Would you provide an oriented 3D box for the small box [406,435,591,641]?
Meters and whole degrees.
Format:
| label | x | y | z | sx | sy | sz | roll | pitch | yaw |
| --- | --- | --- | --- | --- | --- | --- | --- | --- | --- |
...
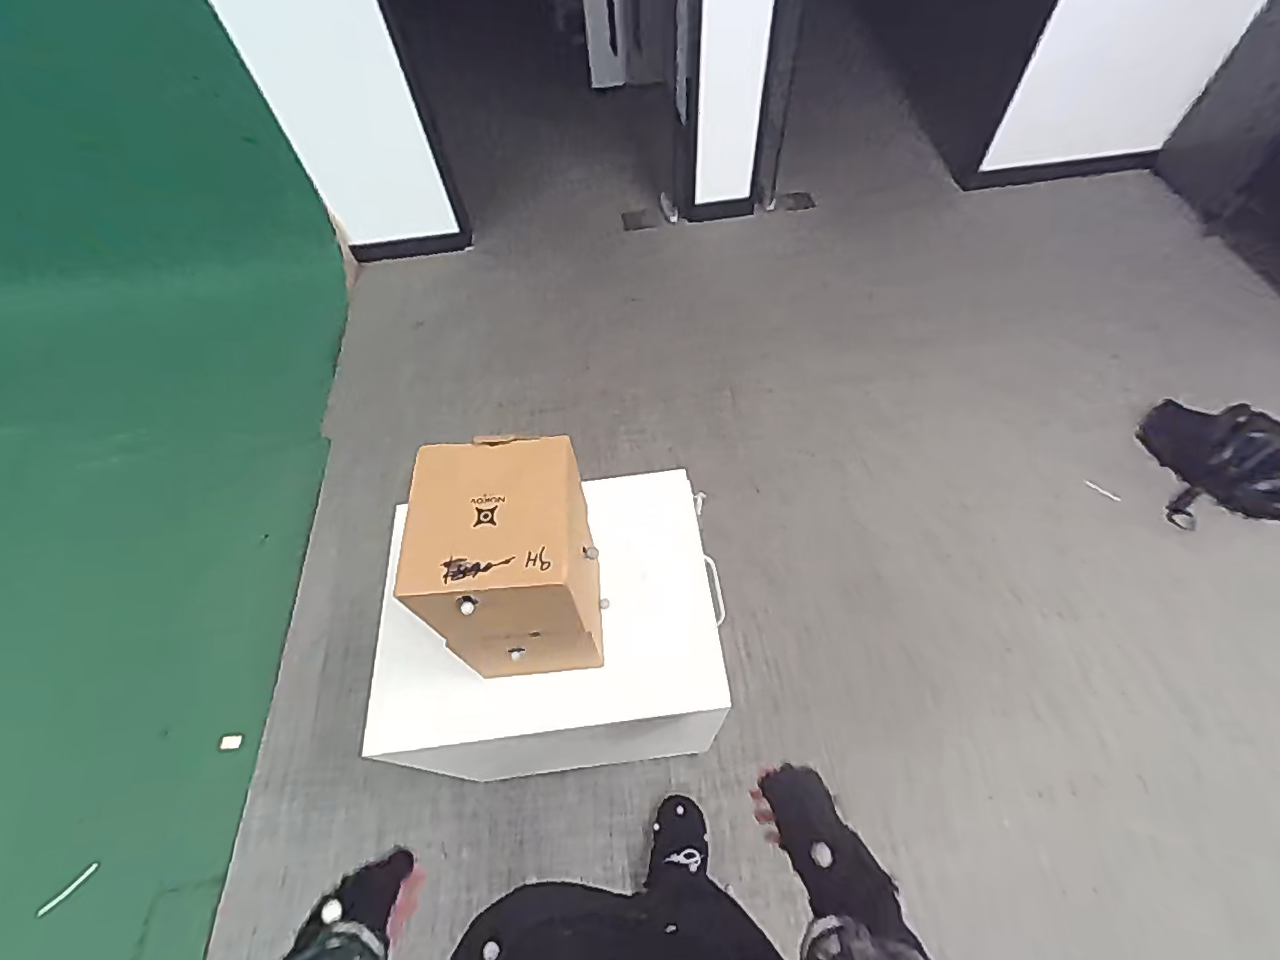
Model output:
| label | x | y | z | sx | sy | sz | roll | pitch | yaw |
| --- | --- | --- | --- | --- | --- | --- | --- | --- | --- |
| small box | -0.148 | 0.071 | 0.627 | 0.168 | 0.176 | 0.179 | -6 | 58 | -2 |

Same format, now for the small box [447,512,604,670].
| label | x | y | z | sx | sy | sz | roll | pitch | yaw |
| --- | --- | --- | --- | --- | --- | --- | --- | --- | --- |
| small box | -0.148 | 0.161 | 0.761 | 0.179 | 0.176 | 0.168 | -5 | 58 | 0 |
